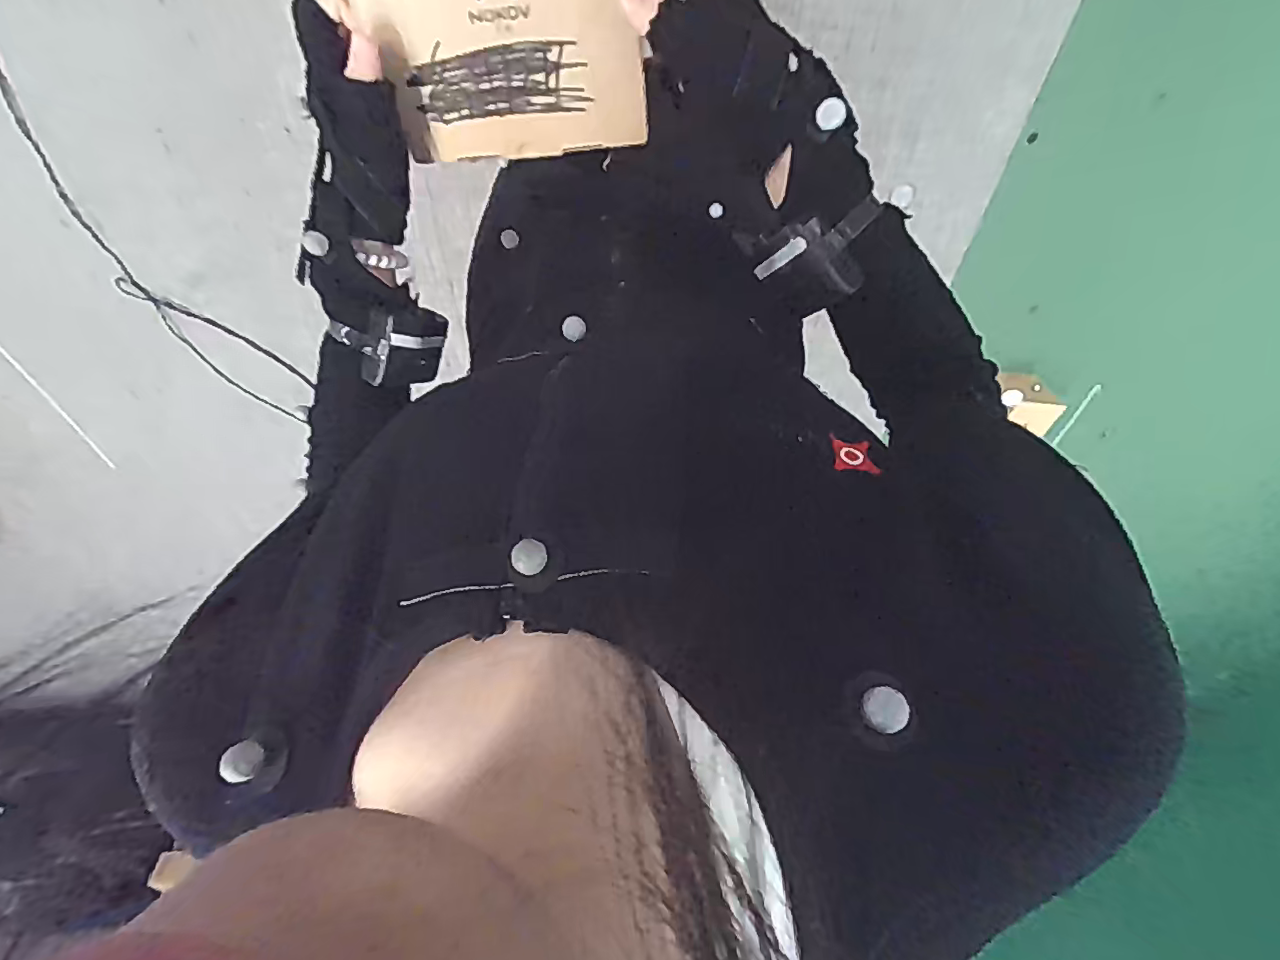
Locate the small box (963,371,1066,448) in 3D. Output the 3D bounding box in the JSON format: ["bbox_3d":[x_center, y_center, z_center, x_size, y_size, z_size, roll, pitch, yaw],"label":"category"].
[{"bbox_3d":[1.158,-0.223,1.691,0.168,0.176,0.179,3,135,-9],"label":"small box"}]
